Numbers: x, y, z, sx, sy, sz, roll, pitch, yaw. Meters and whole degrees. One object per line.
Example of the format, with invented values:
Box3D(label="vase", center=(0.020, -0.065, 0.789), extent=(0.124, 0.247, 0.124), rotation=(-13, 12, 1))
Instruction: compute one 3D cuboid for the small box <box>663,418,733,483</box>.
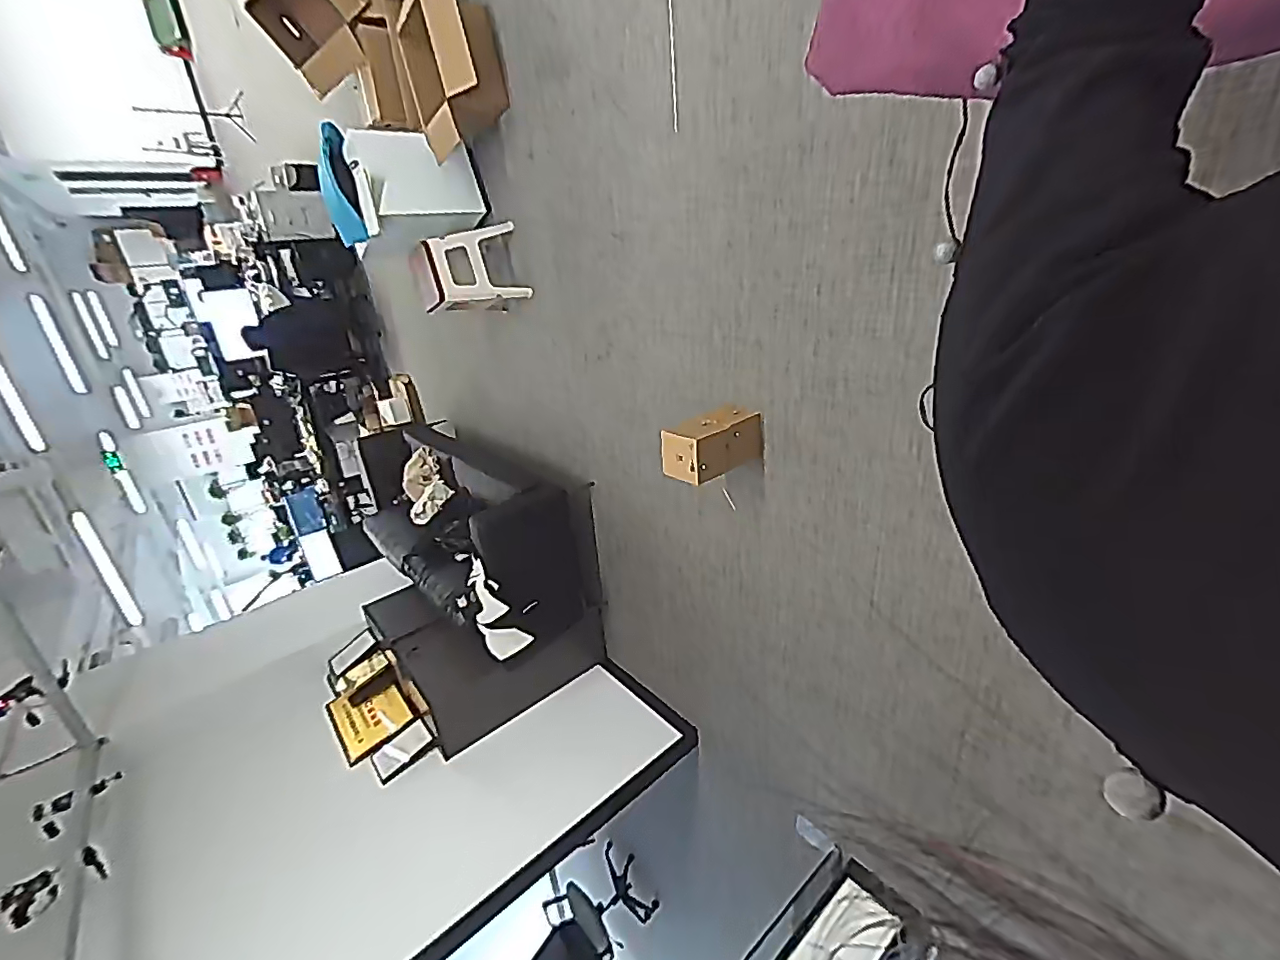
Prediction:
Box3D(label="small box", center=(0.202, -0.109, 1.878), extent=(0.179, 0.176, 0.168), rotation=(23, 126, 47))

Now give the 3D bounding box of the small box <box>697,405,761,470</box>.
Box3D(label="small box", center=(0.326, -0.160, 1.972), extent=(0.168, 0.176, 0.179), rotation=(22, 125, 46))
